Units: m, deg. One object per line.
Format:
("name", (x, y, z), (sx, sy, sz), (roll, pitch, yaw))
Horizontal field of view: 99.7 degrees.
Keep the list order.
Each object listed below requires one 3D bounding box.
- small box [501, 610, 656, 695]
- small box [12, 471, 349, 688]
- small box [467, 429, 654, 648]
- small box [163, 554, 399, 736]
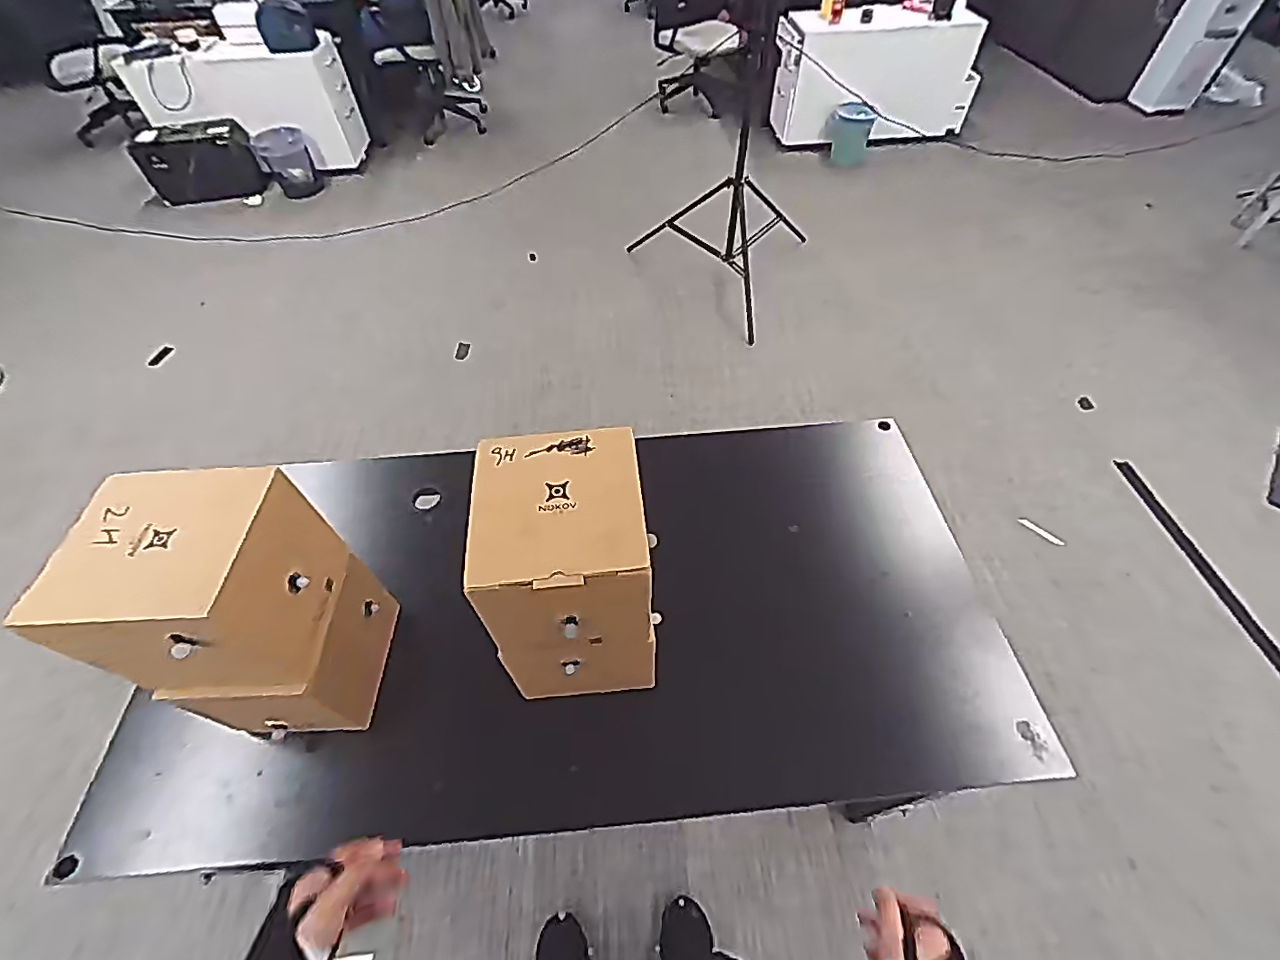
("small box", (-0.072, 0.172, 0.710), (0.179, 0.176, 0.168), (-4, 53, -3))
("small box", (-0.441, 0.108, 0.564), (0.179, 0.176, 0.168), (-3, 52, 0))
("small box", (-0.075, 0.070, 0.582), (0.168, 0.176, 0.179), (-6, 53, -3))
("small box", (-0.432, 0.213, 0.691), (0.168, 0.176, 0.179), (-3, 54, 0))
